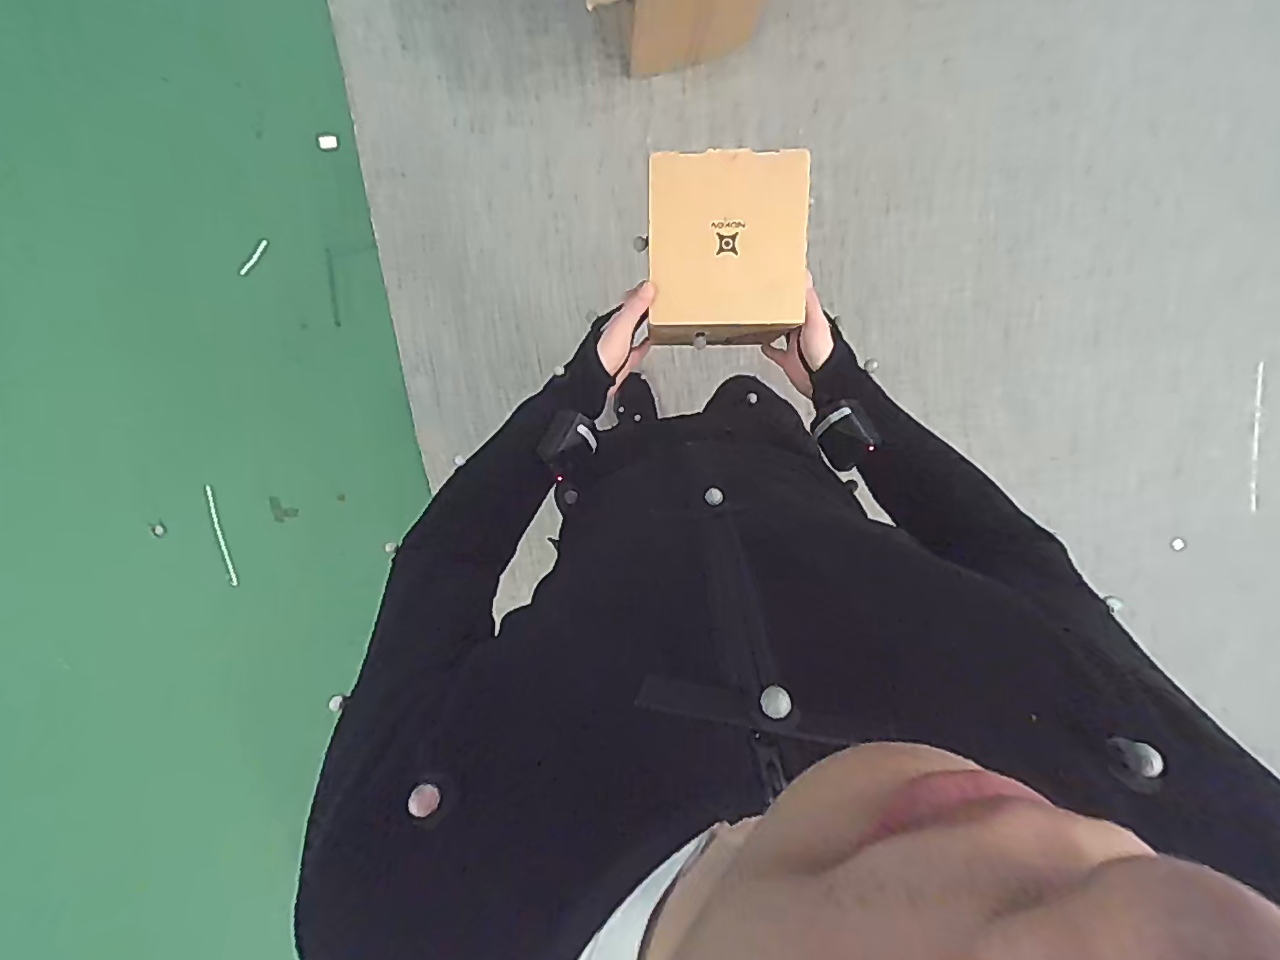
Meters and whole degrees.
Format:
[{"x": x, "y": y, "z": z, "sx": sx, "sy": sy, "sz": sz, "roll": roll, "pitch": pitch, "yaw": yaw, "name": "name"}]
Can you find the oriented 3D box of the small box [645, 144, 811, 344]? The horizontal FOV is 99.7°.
[{"x": 0.091, "y": -0.255, "z": 0.626, "sx": 0.168, "sy": 0.176, "sz": 0.179, "roll": 0, "pitch": 96, "yaw": 2, "name": "small box"}]
